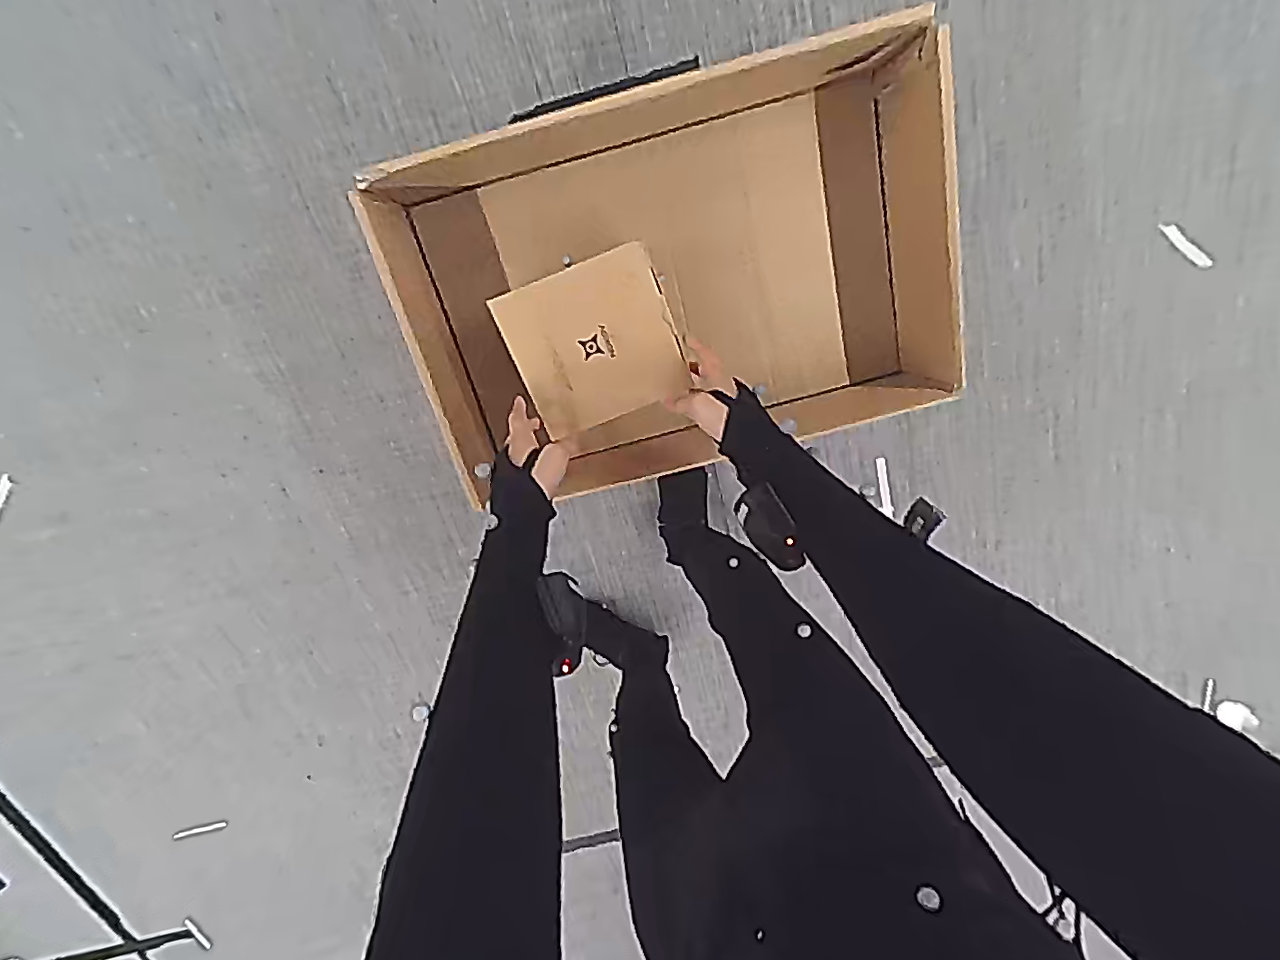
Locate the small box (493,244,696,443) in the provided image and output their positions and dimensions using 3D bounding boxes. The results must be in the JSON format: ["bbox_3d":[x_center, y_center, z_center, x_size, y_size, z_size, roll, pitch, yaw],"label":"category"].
[{"bbox_3d":[-0.051,-0.168,0.653,0.179,0.176,0.168,-21,109,4],"label":"small box"}]
